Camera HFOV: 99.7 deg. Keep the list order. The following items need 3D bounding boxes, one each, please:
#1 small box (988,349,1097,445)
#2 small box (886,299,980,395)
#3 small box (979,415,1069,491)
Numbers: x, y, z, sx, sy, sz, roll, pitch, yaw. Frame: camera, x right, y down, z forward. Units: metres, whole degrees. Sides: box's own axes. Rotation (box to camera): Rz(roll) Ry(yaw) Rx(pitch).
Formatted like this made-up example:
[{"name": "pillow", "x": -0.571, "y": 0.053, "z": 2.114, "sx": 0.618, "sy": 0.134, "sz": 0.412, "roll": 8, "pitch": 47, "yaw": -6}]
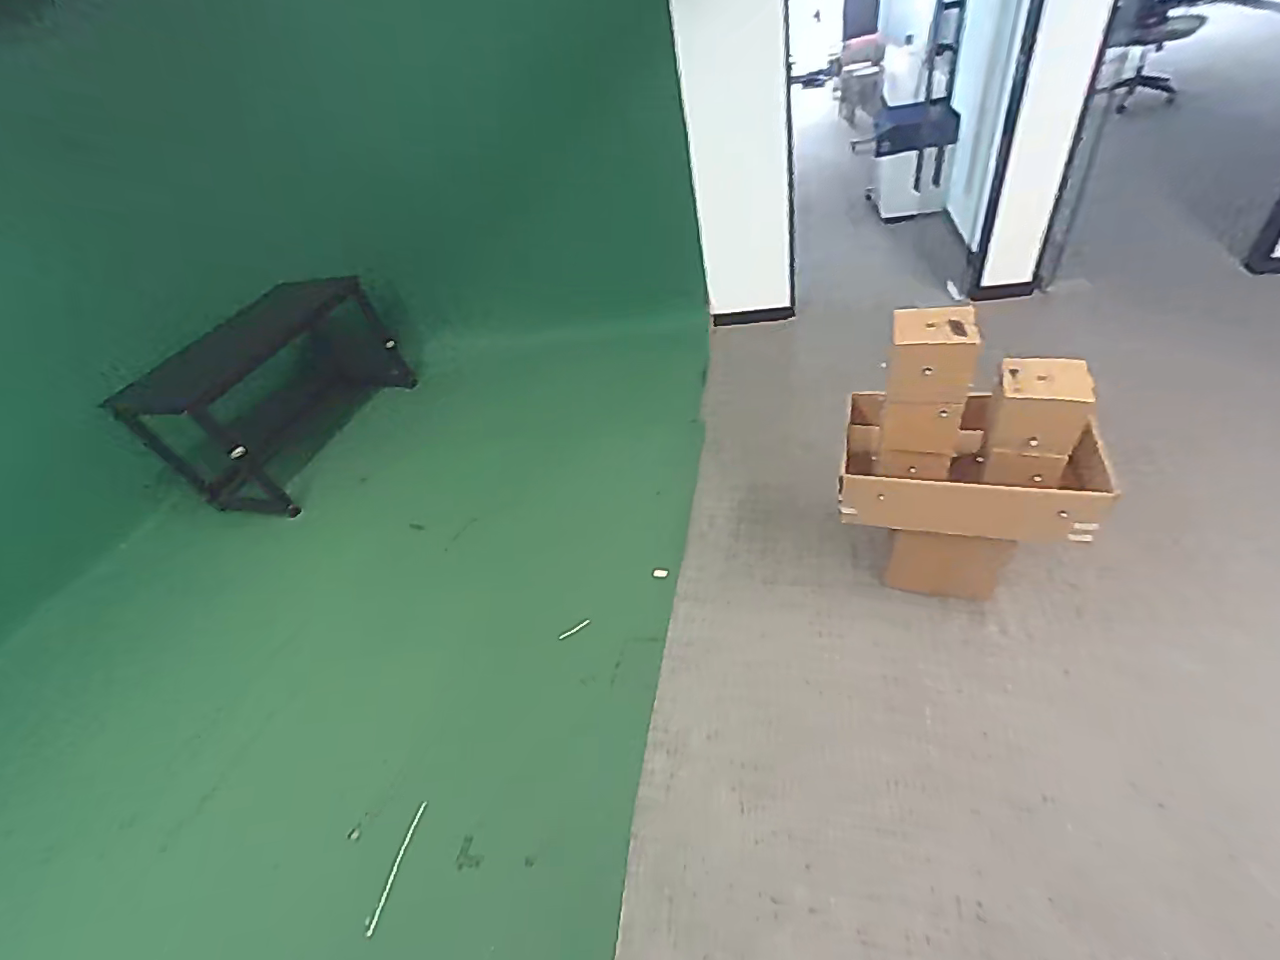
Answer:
[{"name": "small box", "x": 0.988, "y": -0.204, "z": 1.341, "sx": 0.179, "sy": 0.176, "sz": 0.168, "roll": 8, "pitch": 50, "yaw": 24}, {"name": "small box", "x": 0.704, "y": -0.320, "z": 1.314, "sx": 0.179, "sy": 0.176, "sz": 0.168, "roll": 4, "pitch": 47, "yaw": 22}, {"name": "small box", "x": 1.026, "y": -0.091, "z": 1.453, "sx": 0.168, "sy": 0.176, "sz": 0.179, "roll": 9, "pitch": 50, "yaw": 25}]
